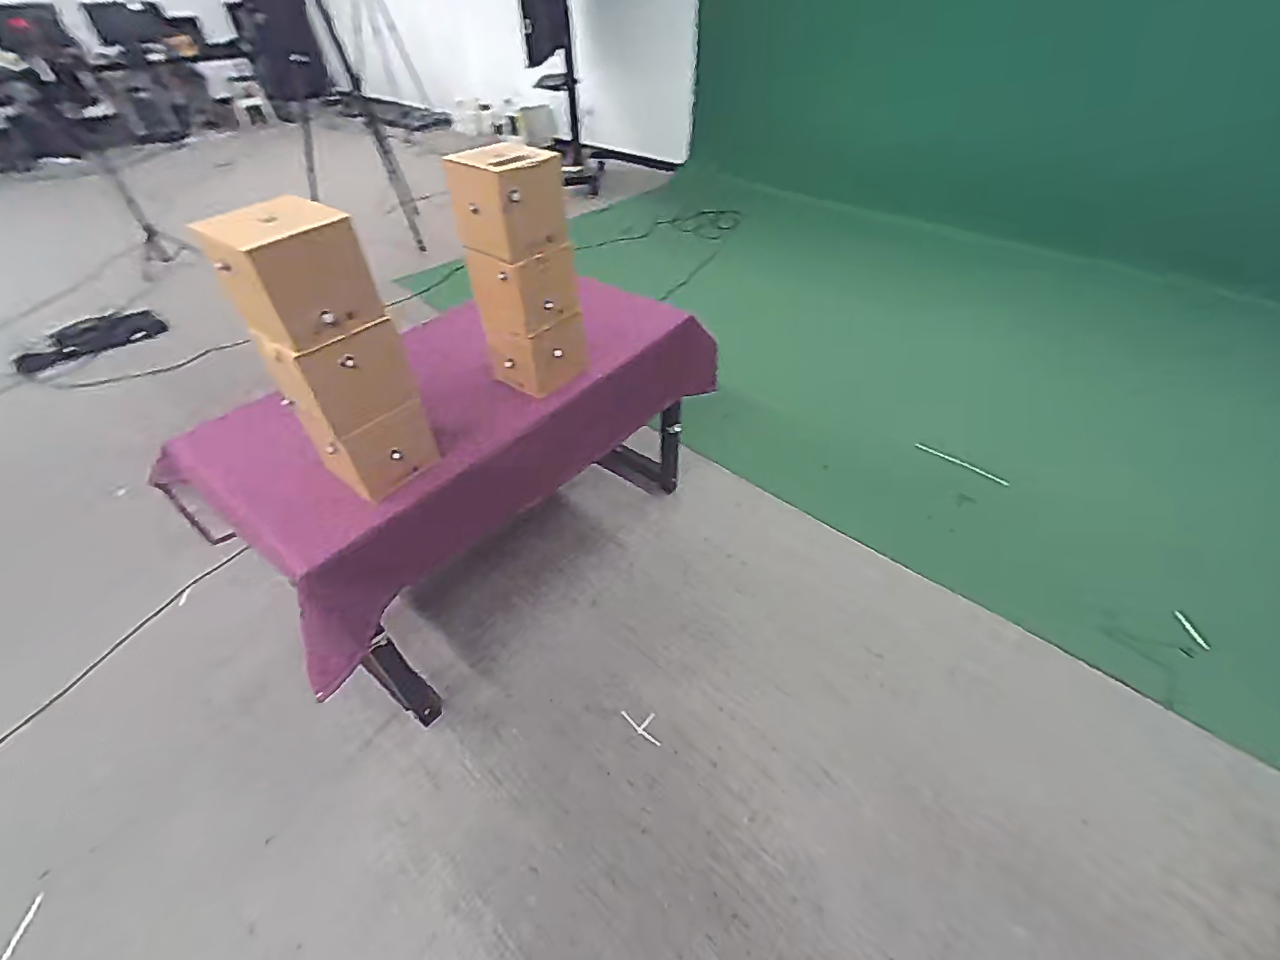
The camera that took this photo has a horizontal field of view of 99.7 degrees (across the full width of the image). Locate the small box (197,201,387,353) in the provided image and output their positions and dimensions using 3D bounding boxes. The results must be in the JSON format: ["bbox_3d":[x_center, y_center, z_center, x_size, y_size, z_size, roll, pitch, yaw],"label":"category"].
[{"bbox_3d":[-0.550,-0.328,0.875,0.179,0.176,0.168,27,51,26],"label":"small box"}]

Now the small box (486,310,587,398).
[{"bbox_3d":[-0.247,-0.329,1.341,0.168,0.176,0.179,28,52,27],"label":"small box"}]

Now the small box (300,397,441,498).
[{"bbox_3d":[-0.536,-0.088,1.098,0.179,0.176,0.168,29,51,28],"label":"small box"}]

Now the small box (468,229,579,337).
[{"bbox_3d":[-0.258,-0.448,1.230,0.179,0.176,0.168,29,52,28],"label":"small box"}]

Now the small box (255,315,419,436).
[{"bbox_3d":[-0.539,-0.206,0.983,0.168,0.176,0.179,28,51,27],"label":"small box"}]
